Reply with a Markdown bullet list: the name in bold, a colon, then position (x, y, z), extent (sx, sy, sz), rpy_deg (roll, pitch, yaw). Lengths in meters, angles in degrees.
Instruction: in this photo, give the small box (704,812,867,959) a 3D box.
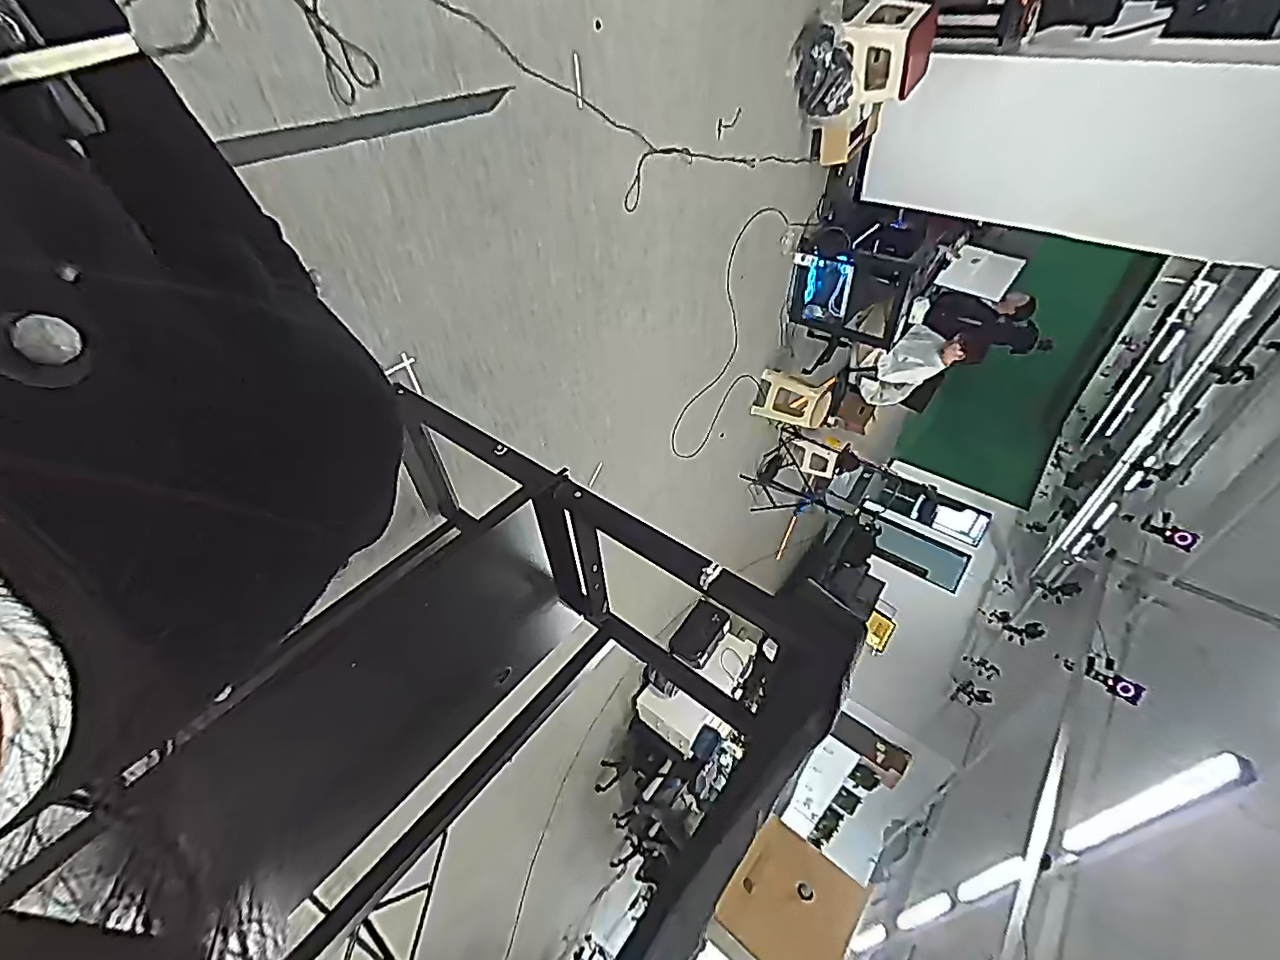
- **small box**: position (0.212, 0.649, 0.823), extent (0.168, 0.176, 0.179), rpy_deg (-40, 146, -35)
